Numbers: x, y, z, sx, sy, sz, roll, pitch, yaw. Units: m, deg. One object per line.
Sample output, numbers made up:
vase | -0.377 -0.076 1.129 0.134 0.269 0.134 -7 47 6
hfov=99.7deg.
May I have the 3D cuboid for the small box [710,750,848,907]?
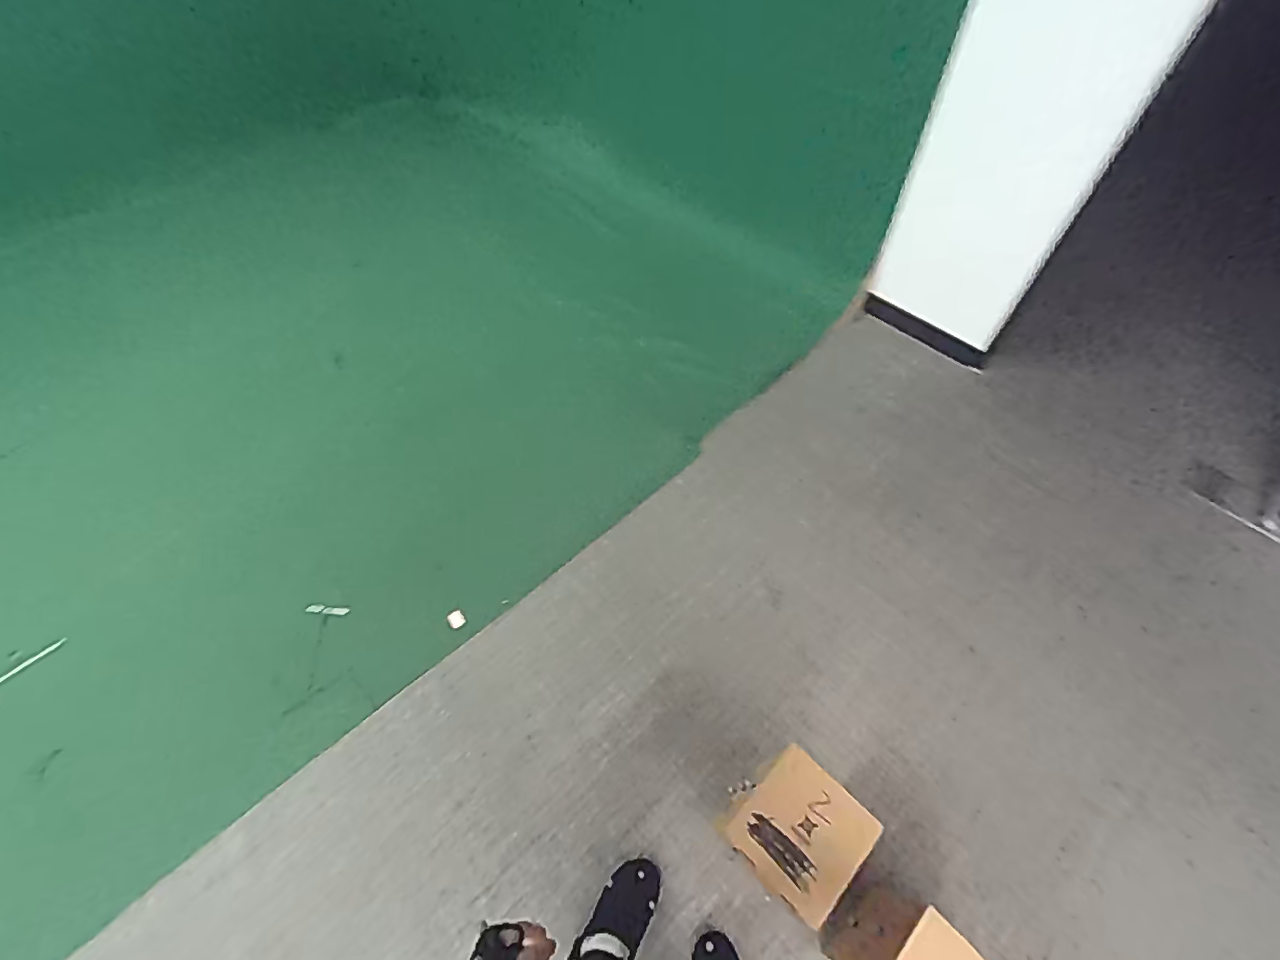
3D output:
small box | 0.250 0.642 1.011 0.168 0.176 0.179 -40 62 -21
